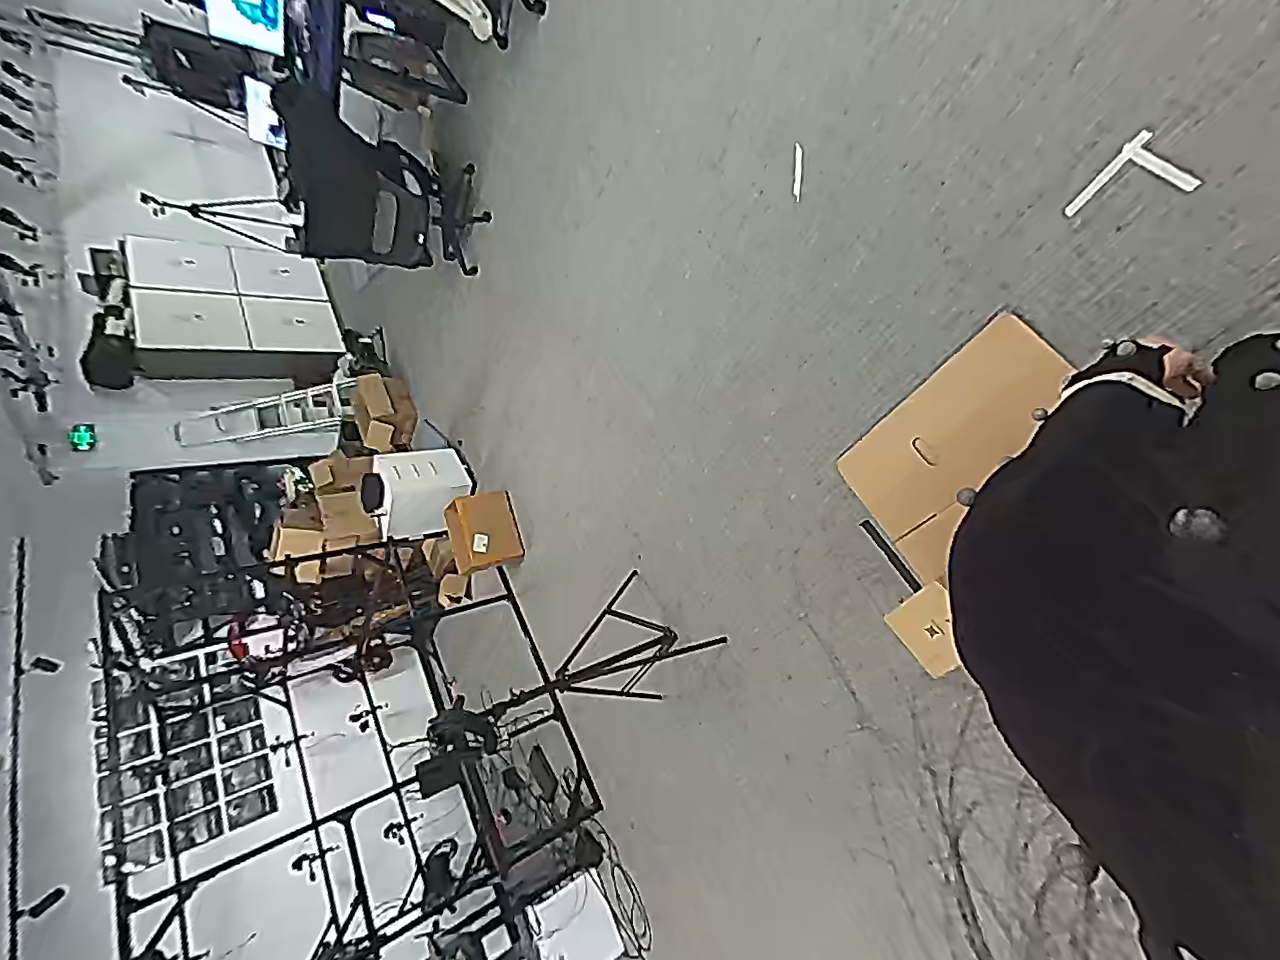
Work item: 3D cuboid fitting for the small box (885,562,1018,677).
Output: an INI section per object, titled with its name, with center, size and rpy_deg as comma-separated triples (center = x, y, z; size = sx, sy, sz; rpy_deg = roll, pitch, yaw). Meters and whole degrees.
[small box]
center = 0.710, 0.312, 1.231
size = 0.168, 0.176, 0.179
rpy_deg = 55, 135, 27
